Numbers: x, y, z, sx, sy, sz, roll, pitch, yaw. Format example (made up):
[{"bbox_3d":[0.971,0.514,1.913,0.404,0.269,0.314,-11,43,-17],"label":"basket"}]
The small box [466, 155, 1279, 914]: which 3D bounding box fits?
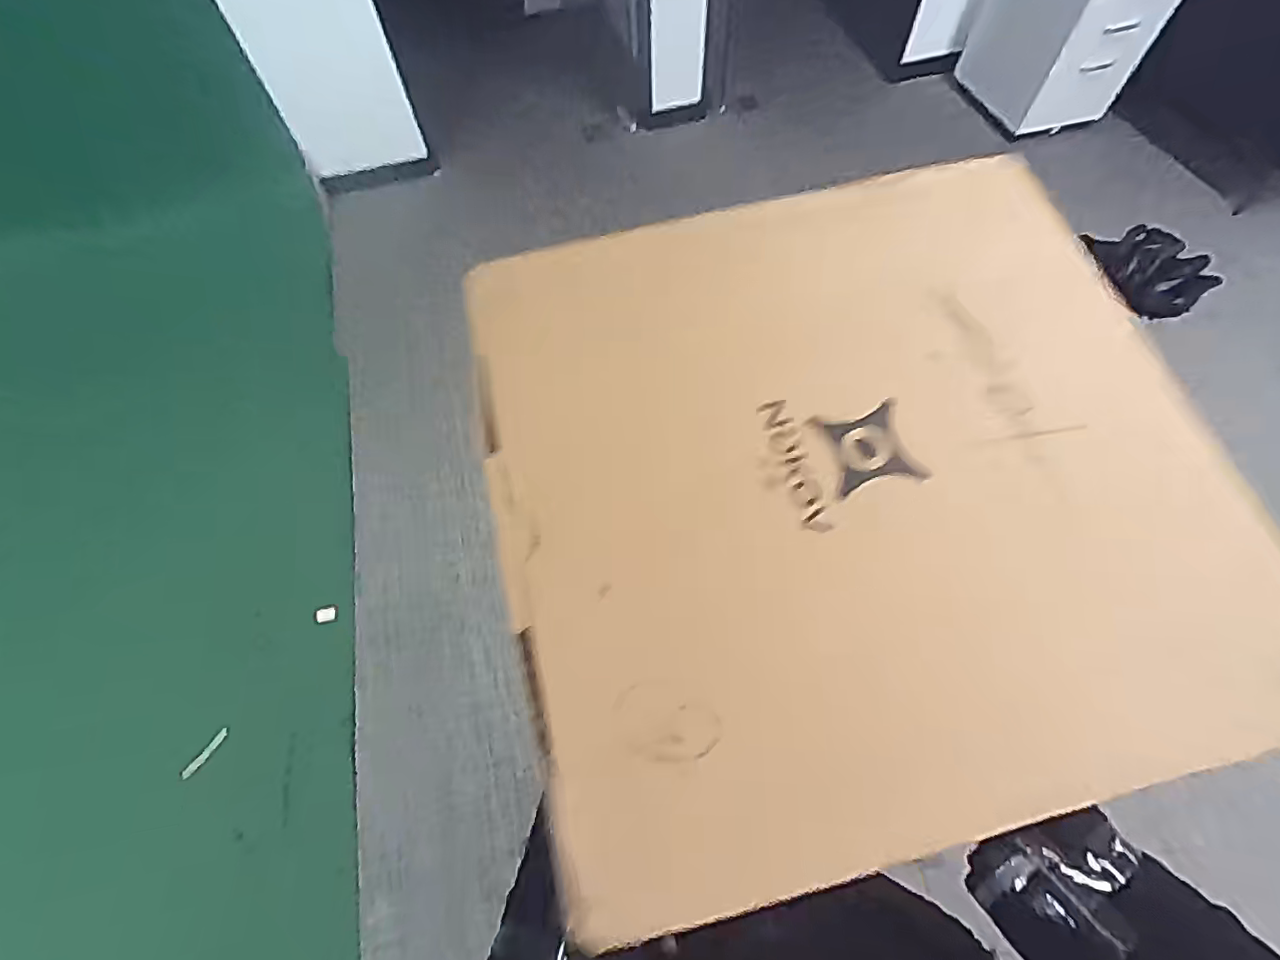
[{"bbox_3d":[0.052,0.019,0.210,0.179,0.176,0.168,-13,70,-6],"label":"small box"}]
